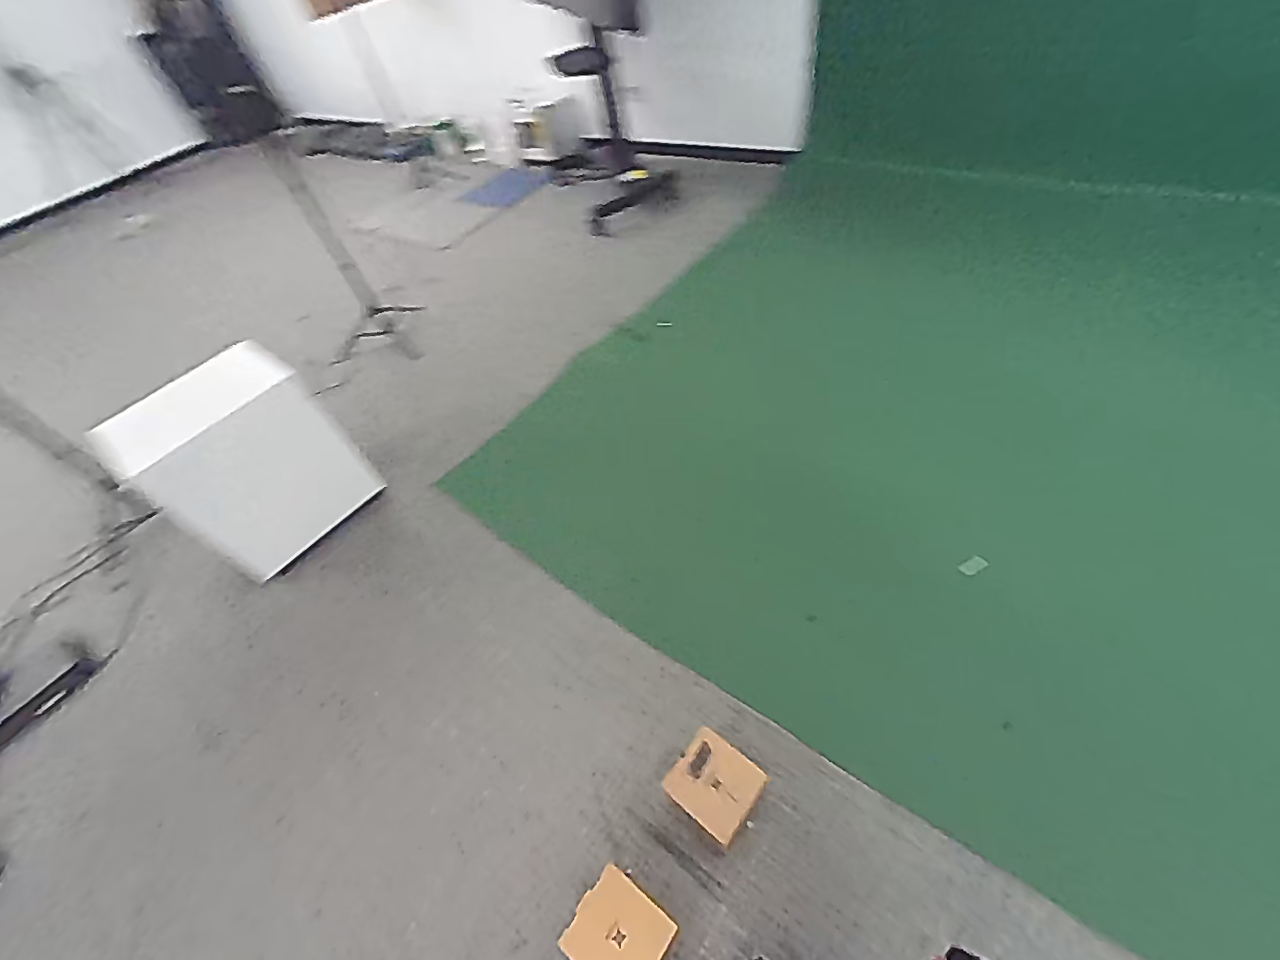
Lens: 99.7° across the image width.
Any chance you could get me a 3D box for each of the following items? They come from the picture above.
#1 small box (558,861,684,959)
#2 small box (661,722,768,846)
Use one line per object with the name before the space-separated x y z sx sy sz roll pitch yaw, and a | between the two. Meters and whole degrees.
small box | -0.028 0.908 1.081 0.179 0.176 0.168 24 58 29
small box | 0.171 0.692 1.223 0.179 0.176 0.168 29 61 30
